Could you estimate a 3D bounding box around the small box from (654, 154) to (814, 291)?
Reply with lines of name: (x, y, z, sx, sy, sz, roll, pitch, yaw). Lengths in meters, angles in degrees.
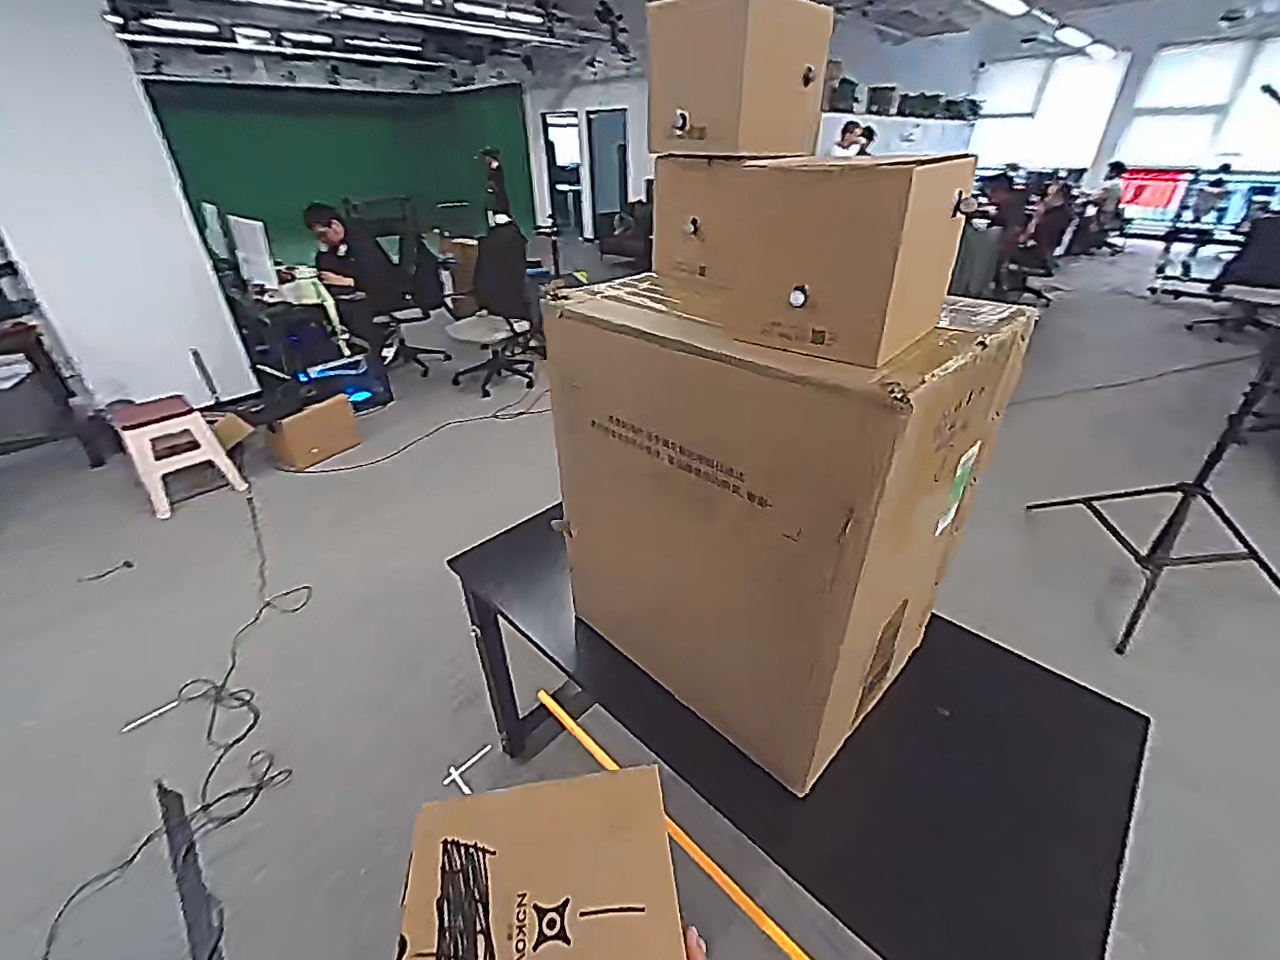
small box: (0.139, -0.396, 0.823, 0.168, 0.176, 0.179, 28, 42, 36)

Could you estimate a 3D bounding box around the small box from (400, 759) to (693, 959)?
small box: (-0.053, 0.330, 0.384, 0.179, 0.176, 0.168, -7, 40, -3)

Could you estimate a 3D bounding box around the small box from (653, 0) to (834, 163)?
small box: (0.130, -0.528, 0.725, 0.179, 0.176, 0.168, -27, 40, -36)

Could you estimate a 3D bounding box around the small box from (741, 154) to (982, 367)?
small box: (0.215, -0.232, 0.555, 0.168, 0.176, 0.179, 24, 41, 36)
